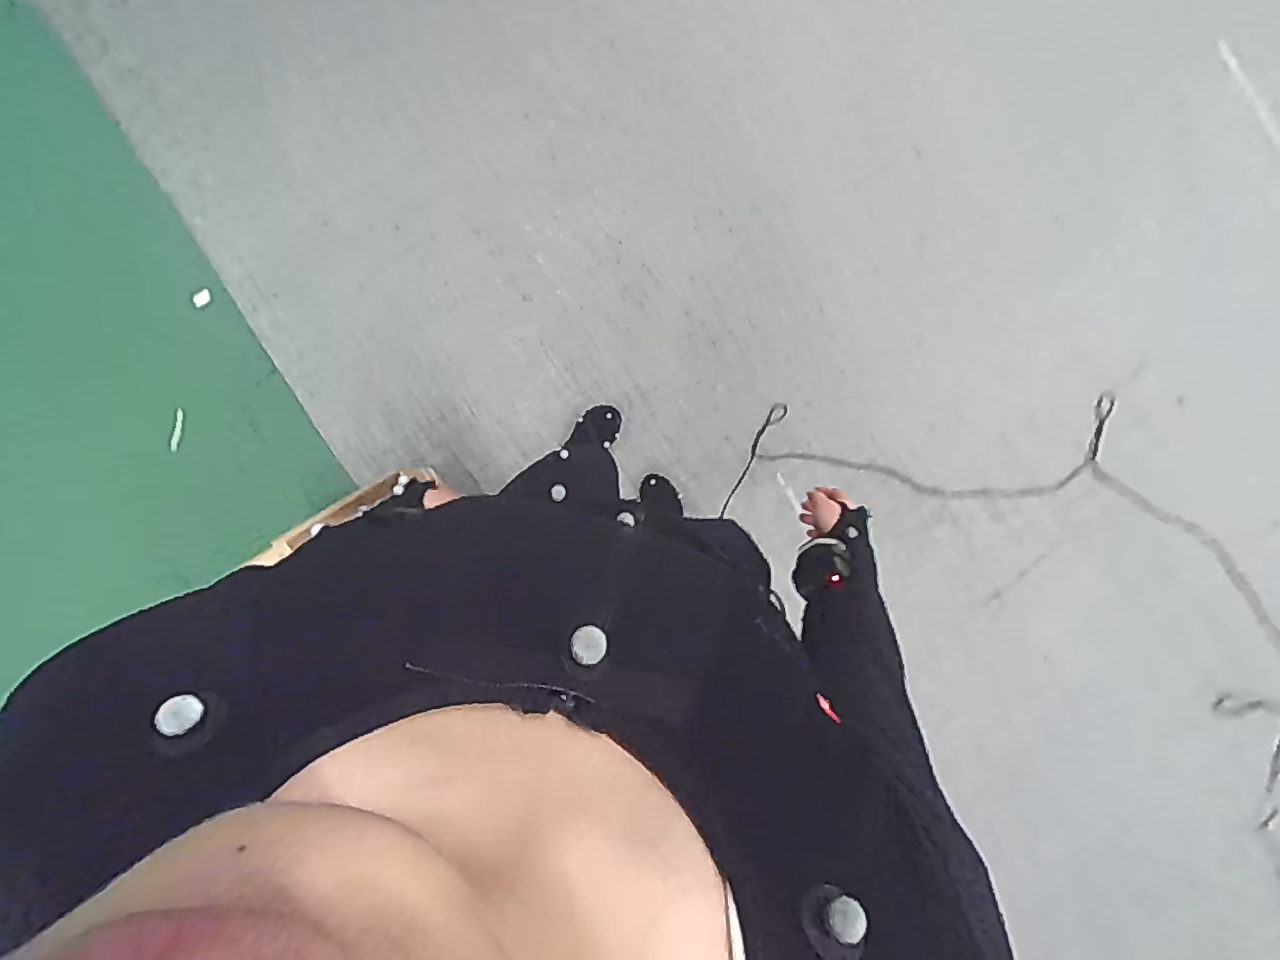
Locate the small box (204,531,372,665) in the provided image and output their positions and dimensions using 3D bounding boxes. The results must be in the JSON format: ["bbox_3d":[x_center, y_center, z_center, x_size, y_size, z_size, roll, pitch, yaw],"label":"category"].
[{"bbox_3d":[-0.666,0.218,1.046,0.179,0.176,0.168,-32,92,3],"label":"small box"}]
